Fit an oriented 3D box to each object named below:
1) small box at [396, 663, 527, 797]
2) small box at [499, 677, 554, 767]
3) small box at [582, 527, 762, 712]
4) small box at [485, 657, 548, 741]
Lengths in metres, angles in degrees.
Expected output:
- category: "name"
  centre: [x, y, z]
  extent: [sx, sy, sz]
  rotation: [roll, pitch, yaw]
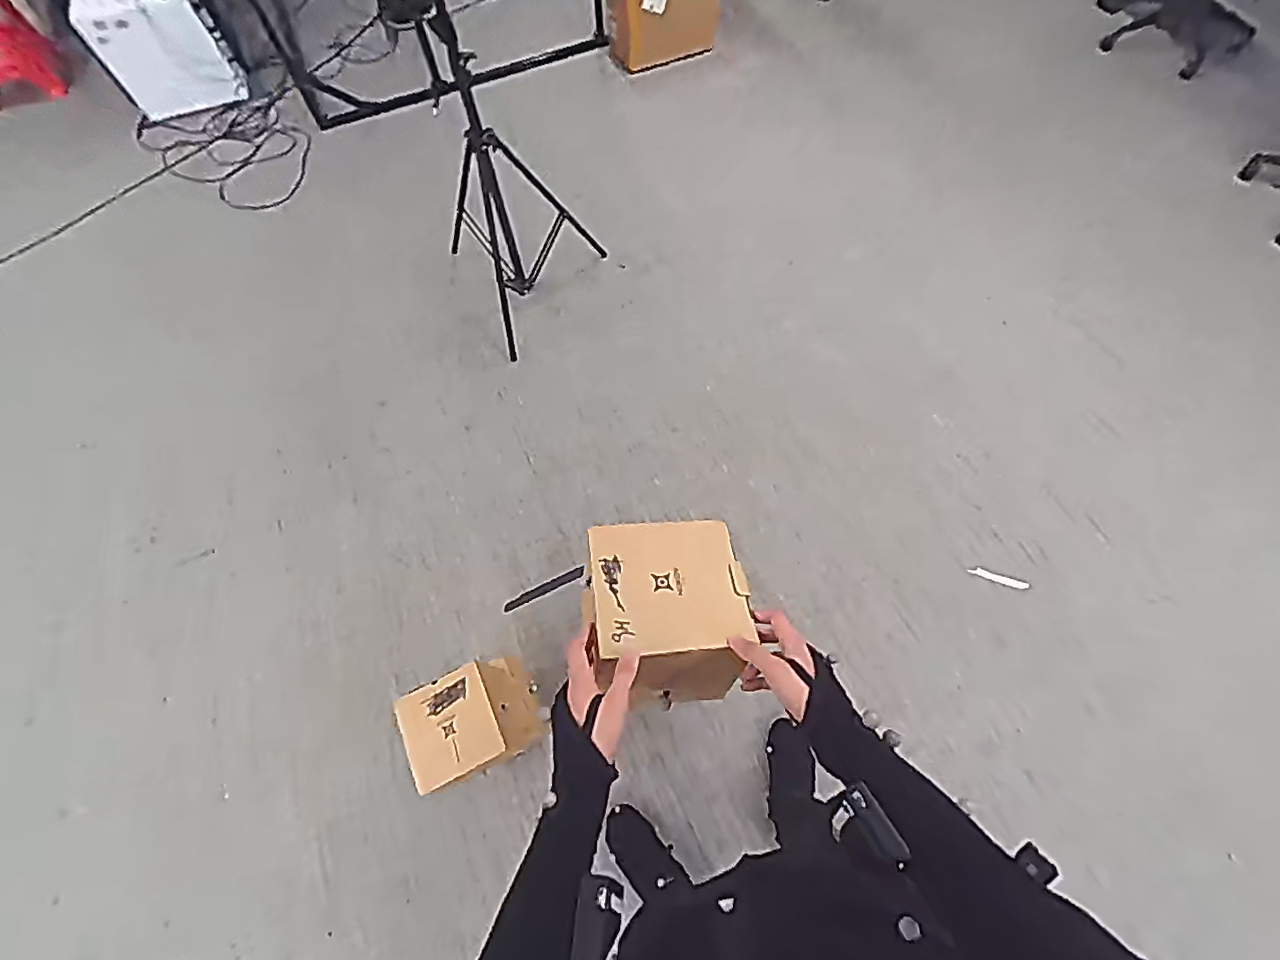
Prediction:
- category: "small box"
  centre: [-0.338, 0.480, 1.047]
  extent: [0.168, 0.176, 0.179]
  rotation: [-26, 68, -8]
- category: "small box"
  centre: [-0.332, 0.599, 1.353]
  extent: [0.168, 0.176, 0.179]
  rotation: [-28, 68, -10]
- category: "small box"
  centre: [0.025, 0.172, 0.666]
  extent: [0.179, 0.176, 0.168]
  rotation: [-1, 50, -11]
- category: "small box"
  centre: [-0.329, 0.523, 1.208]
  extent: [0.179, 0.176, 0.168]
  rotation: [-29, 67, -11]
